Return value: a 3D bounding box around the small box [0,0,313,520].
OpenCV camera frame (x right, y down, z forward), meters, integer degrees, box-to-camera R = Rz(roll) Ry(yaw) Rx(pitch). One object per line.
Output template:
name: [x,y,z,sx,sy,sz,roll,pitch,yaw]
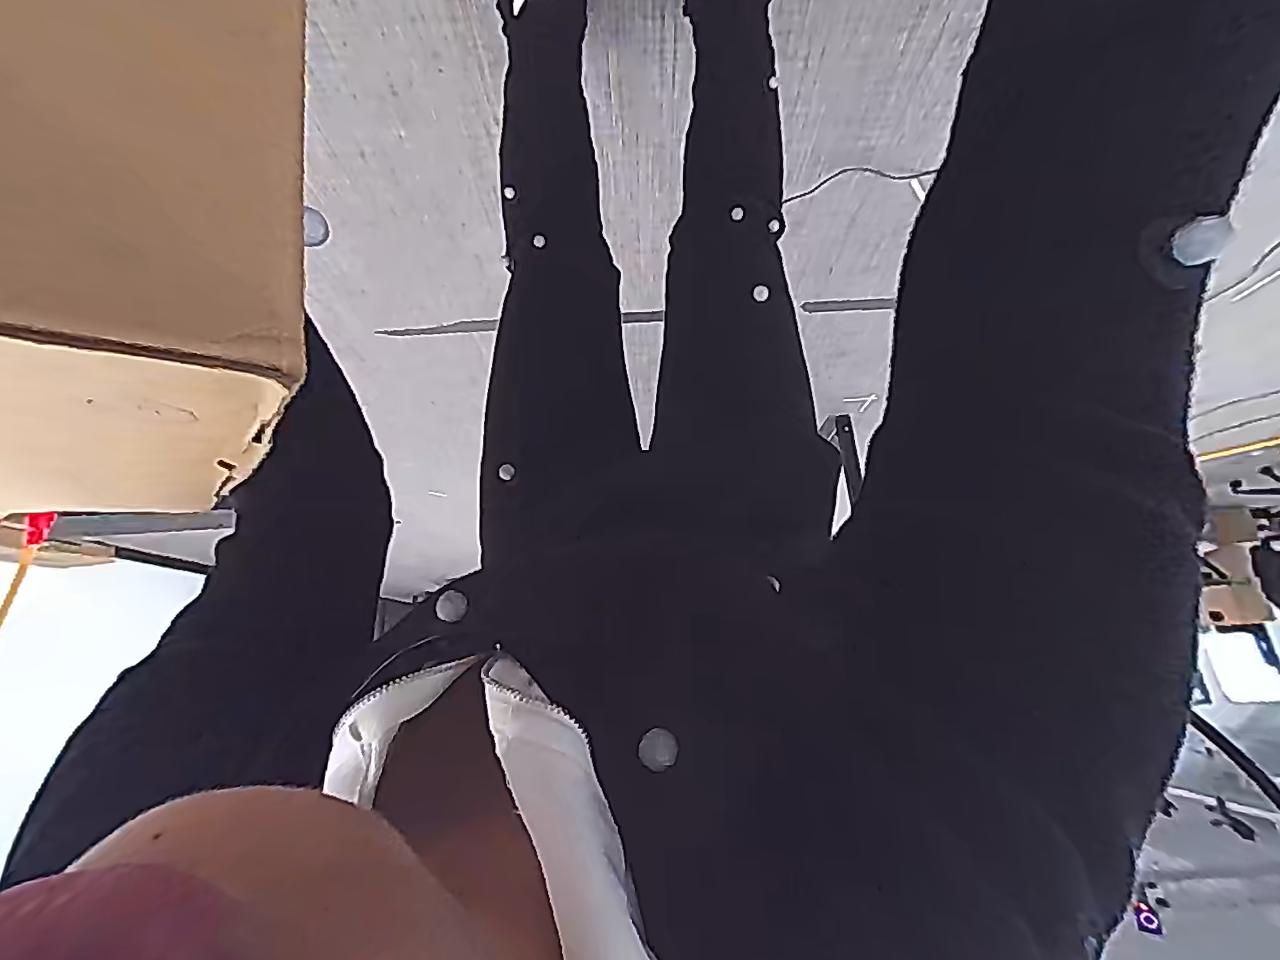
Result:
small box: [-0.201,-0.087,0.136,0.179,0.176,0.168,5,163,-43]
